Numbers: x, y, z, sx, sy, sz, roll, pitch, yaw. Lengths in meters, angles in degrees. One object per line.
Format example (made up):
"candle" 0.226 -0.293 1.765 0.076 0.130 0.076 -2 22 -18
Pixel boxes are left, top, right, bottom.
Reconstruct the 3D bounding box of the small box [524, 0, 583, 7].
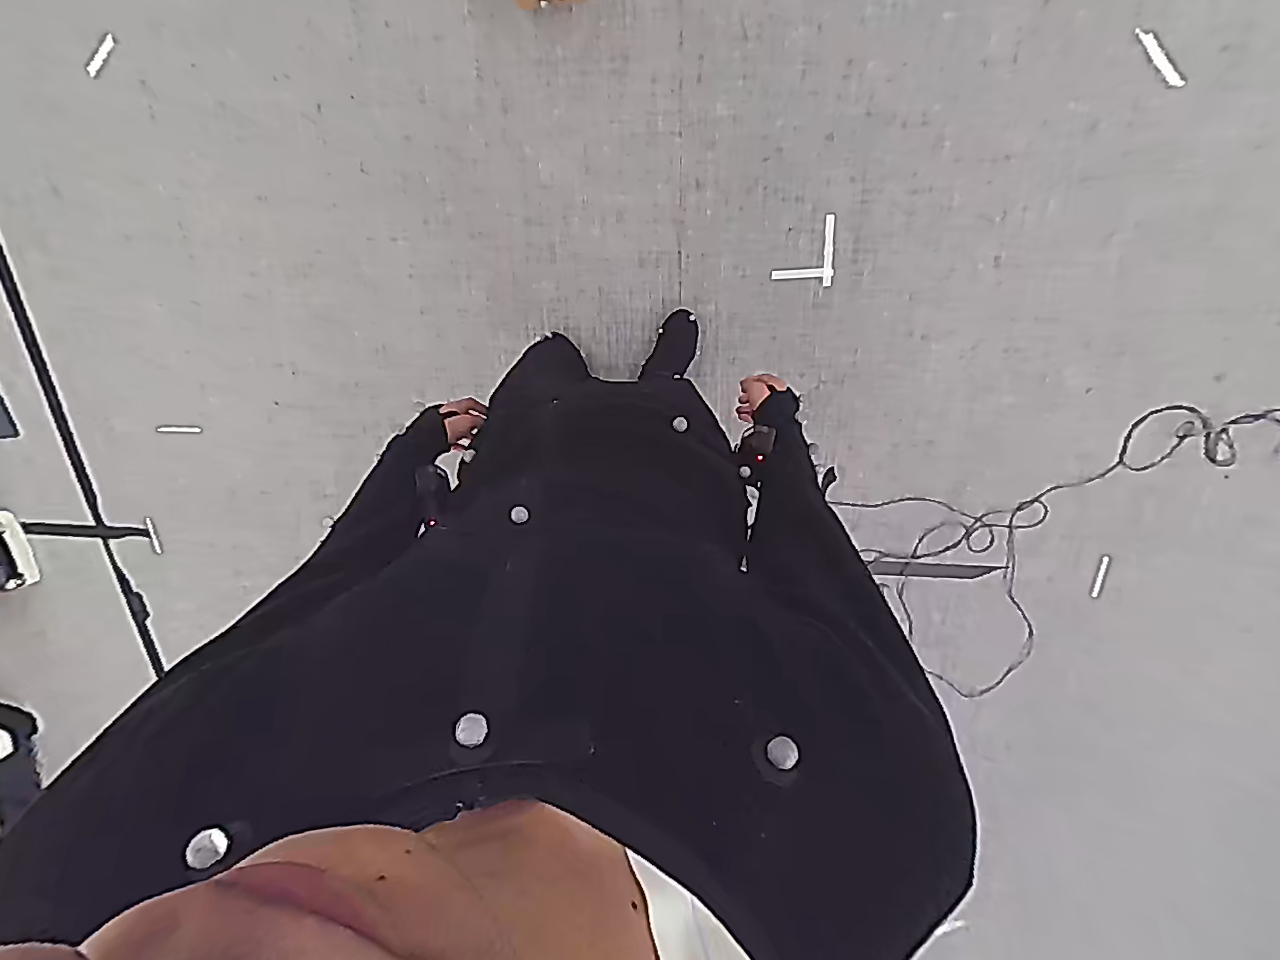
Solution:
"small box" -0.213 -1.191 1.184 0.168 0.176 0.179 -1 110 7
